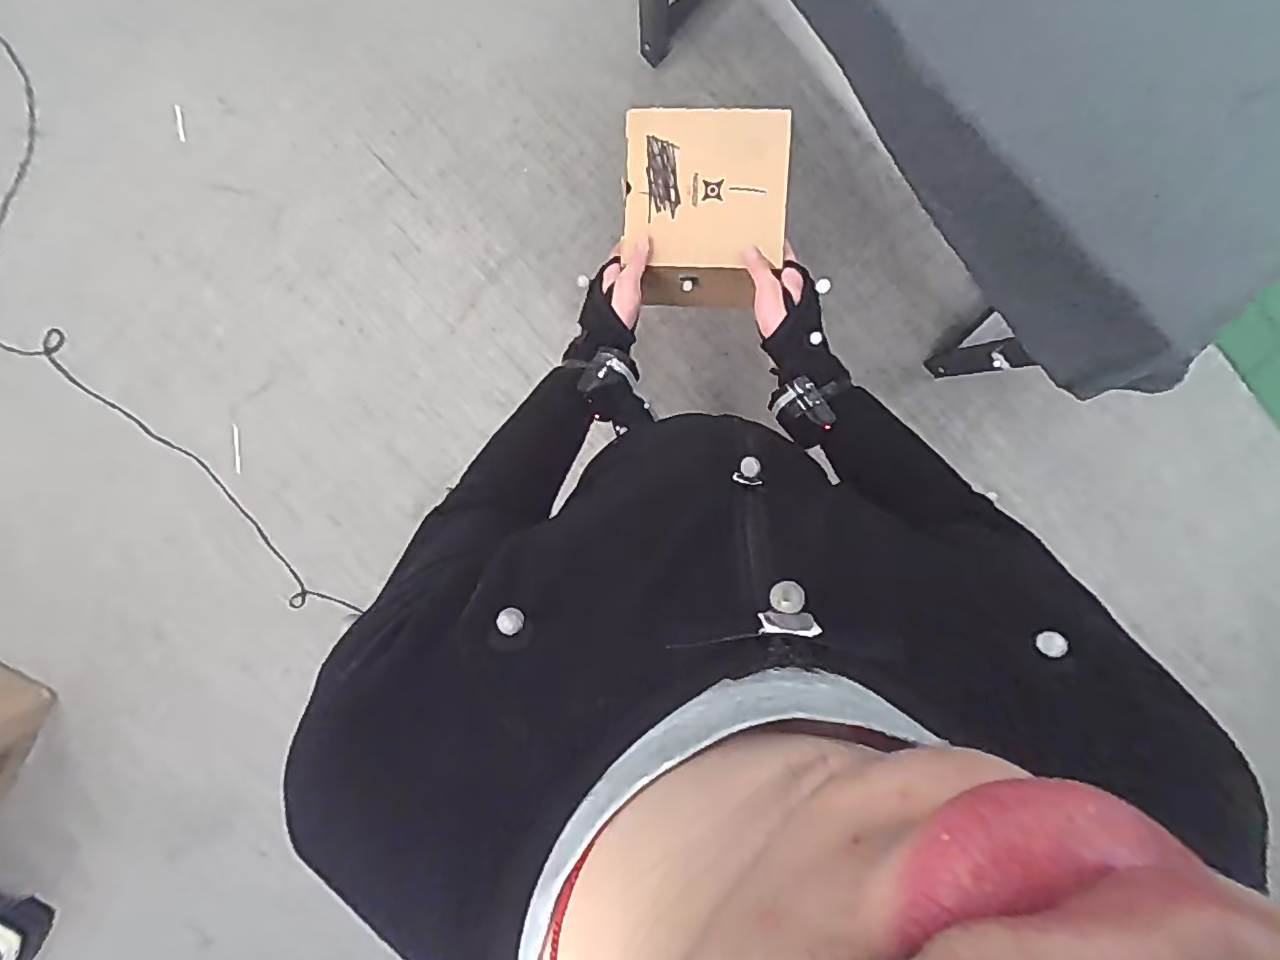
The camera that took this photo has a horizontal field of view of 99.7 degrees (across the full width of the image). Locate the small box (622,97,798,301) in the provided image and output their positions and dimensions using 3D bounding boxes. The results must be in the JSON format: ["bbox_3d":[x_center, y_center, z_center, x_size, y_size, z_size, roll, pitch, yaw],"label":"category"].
[{"bbox_3d":[0.075,-0.318,0.644,0.179,0.176,0.168,3,95,2],"label":"small box"}]
